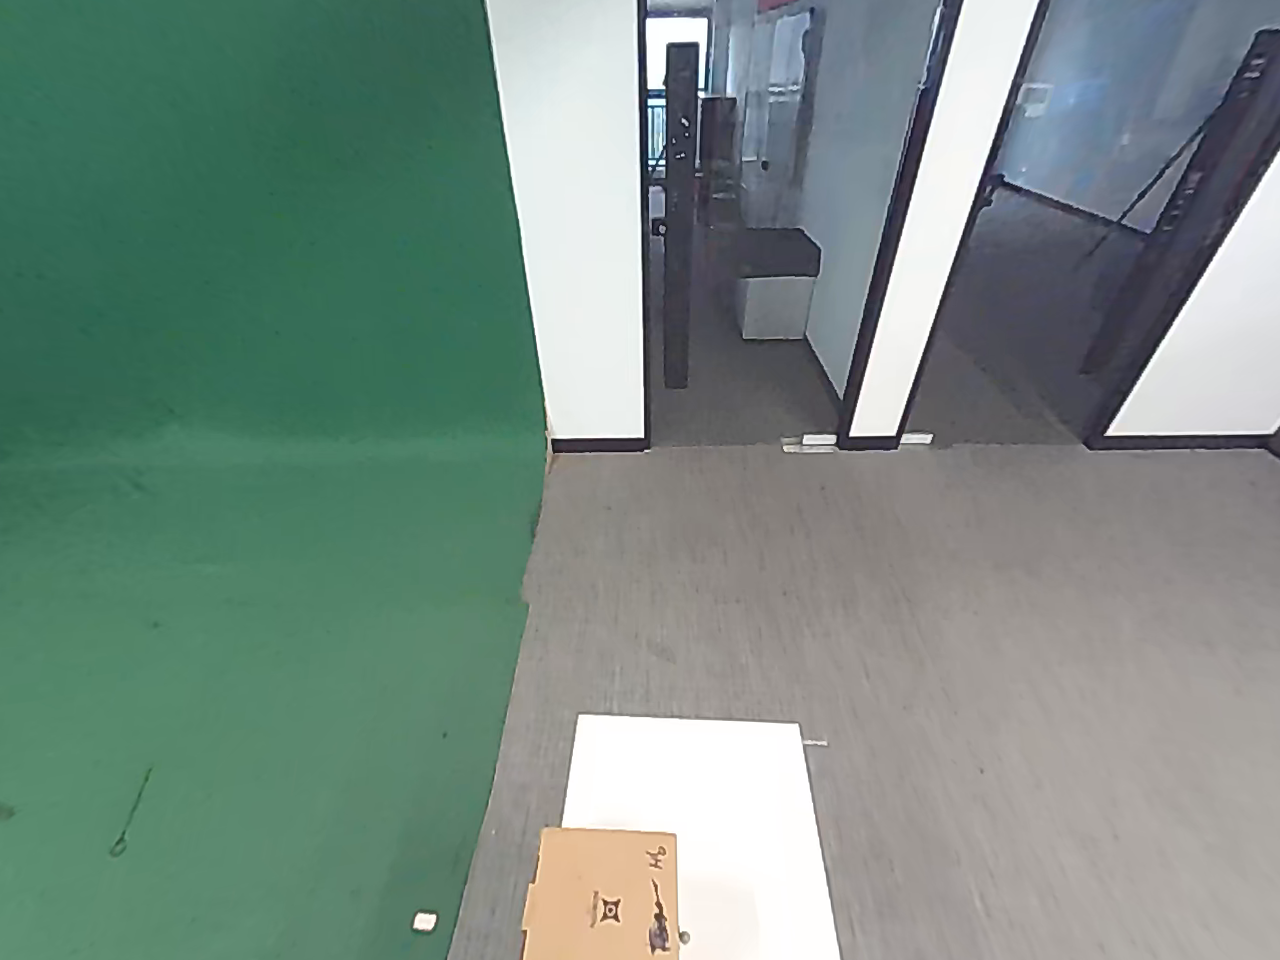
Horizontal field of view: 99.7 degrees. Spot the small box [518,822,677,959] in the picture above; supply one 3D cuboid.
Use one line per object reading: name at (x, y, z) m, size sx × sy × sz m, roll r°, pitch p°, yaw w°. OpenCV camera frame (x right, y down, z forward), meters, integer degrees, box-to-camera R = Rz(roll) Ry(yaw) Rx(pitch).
small box at (-0.042, 0.555, 0.678) m, size 0.179 × 0.176 × 0.168 m, roll 1°, pitch 38°, yaw 2°
